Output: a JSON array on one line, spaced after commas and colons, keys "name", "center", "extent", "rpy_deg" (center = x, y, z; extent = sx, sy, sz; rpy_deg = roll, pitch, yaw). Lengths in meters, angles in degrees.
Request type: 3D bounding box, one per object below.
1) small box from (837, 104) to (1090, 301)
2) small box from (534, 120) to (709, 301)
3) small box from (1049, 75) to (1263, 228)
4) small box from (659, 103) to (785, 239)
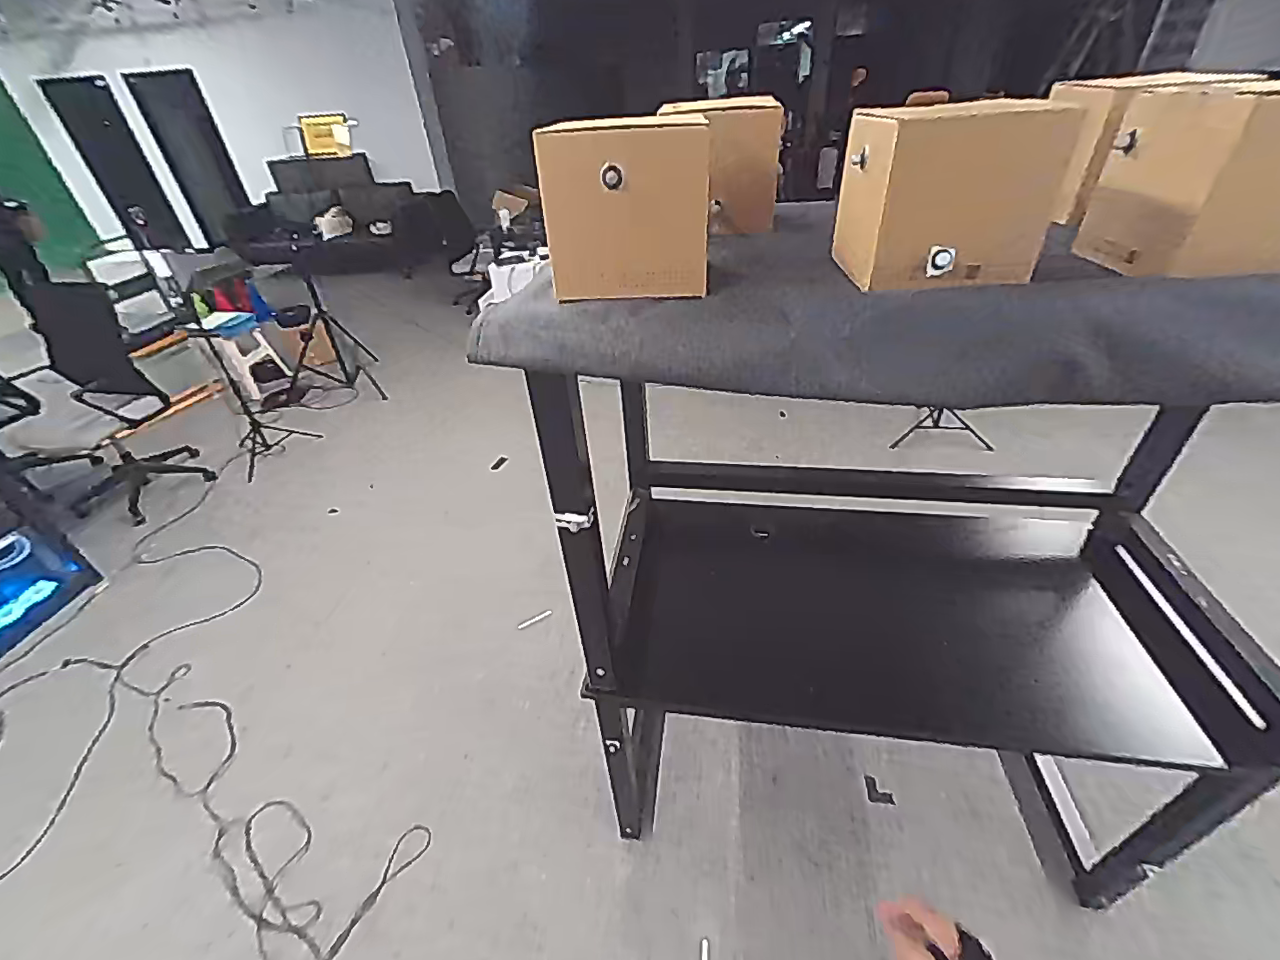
[{"name": "small box", "center": [0.326, -0.306, 0.595], "extent": [0.168, 0.176, 0.179], "rpy_deg": [-1, 36, 6]}, {"name": "small box", "center": [-0.010, -0.315, 0.634], "extent": [0.179, 0.176, 0.168], "rpy_deg": [0, 36, 4]}, {"name": "small box", "center": [0.695, -0.470, 0.780], "extent": [0.168, 0.176, 0.179], "rpy_deg": [2, 37, 8]}, {"name": "small box", "center": [0.123, -0.488, 0.856], "extent": [0.179, 0.176, 0.168], "rpy_deg": [2, 37, 6]}]
